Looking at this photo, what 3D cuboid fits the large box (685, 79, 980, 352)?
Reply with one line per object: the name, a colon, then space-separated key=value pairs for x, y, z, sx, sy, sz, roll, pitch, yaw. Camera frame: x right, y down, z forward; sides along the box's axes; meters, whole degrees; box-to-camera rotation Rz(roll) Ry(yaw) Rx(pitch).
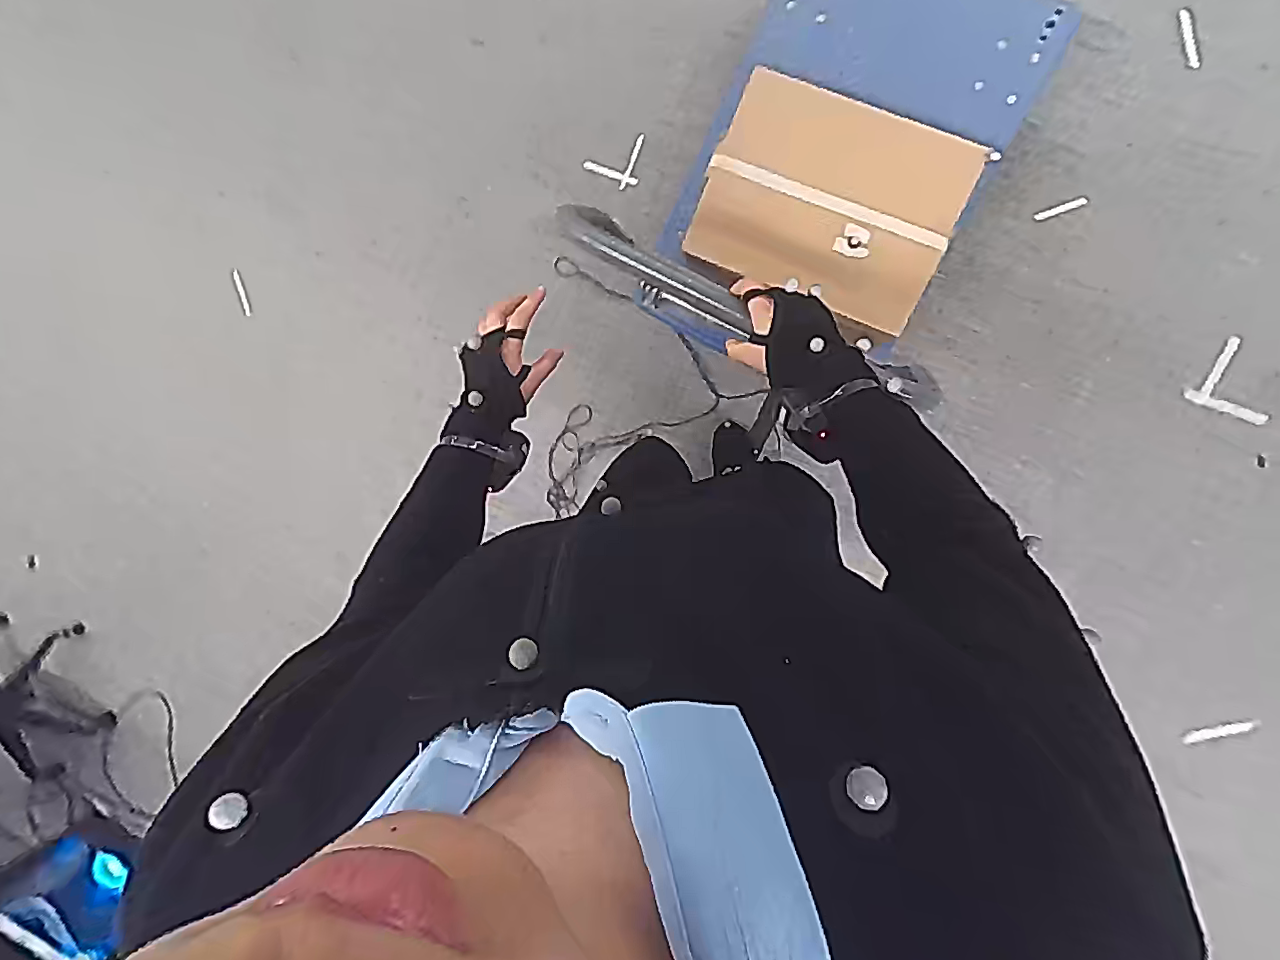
large box: x=0.335 y=-0.481 z=1.061 sx=0.408 sy=0.320 sz=0.320 roll=24 pitch=101 yaw=6
